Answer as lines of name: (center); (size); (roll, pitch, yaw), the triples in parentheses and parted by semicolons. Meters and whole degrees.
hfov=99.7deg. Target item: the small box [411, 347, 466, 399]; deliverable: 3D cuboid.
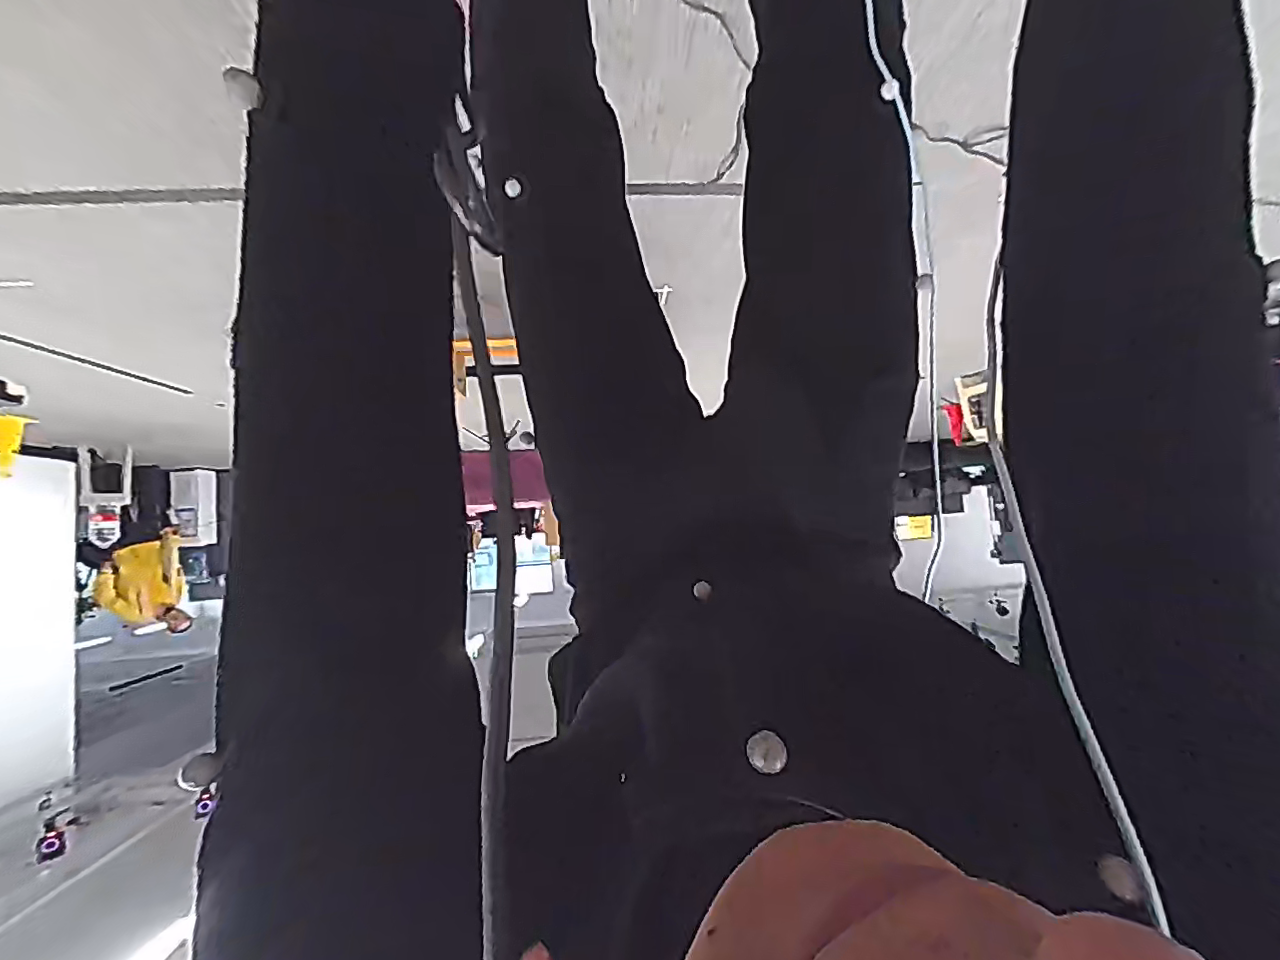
small box: (-0.792, -0.424, 2.130); (0.168, 0.176, 0.179); (-3, 177, -6)
